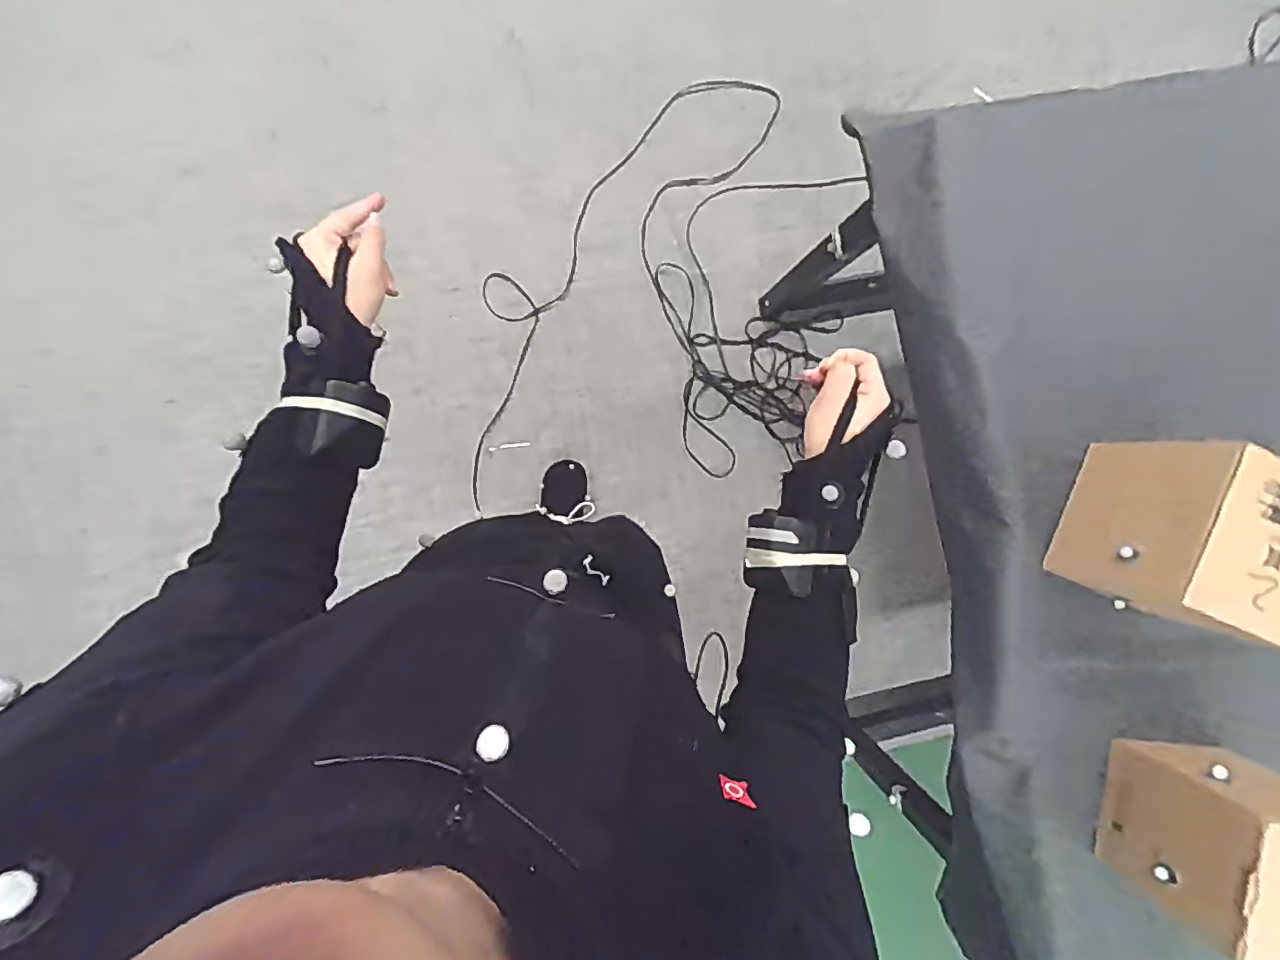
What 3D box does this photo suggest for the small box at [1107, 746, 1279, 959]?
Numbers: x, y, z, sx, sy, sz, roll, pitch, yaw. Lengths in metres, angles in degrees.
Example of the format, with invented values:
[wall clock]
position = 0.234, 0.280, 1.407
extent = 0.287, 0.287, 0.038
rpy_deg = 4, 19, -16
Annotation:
[small box]
position = 0.708, 0.437, 0.635
extent = 0.179, 0.176, 0.168
rpy_deg = 8, 92, -7
